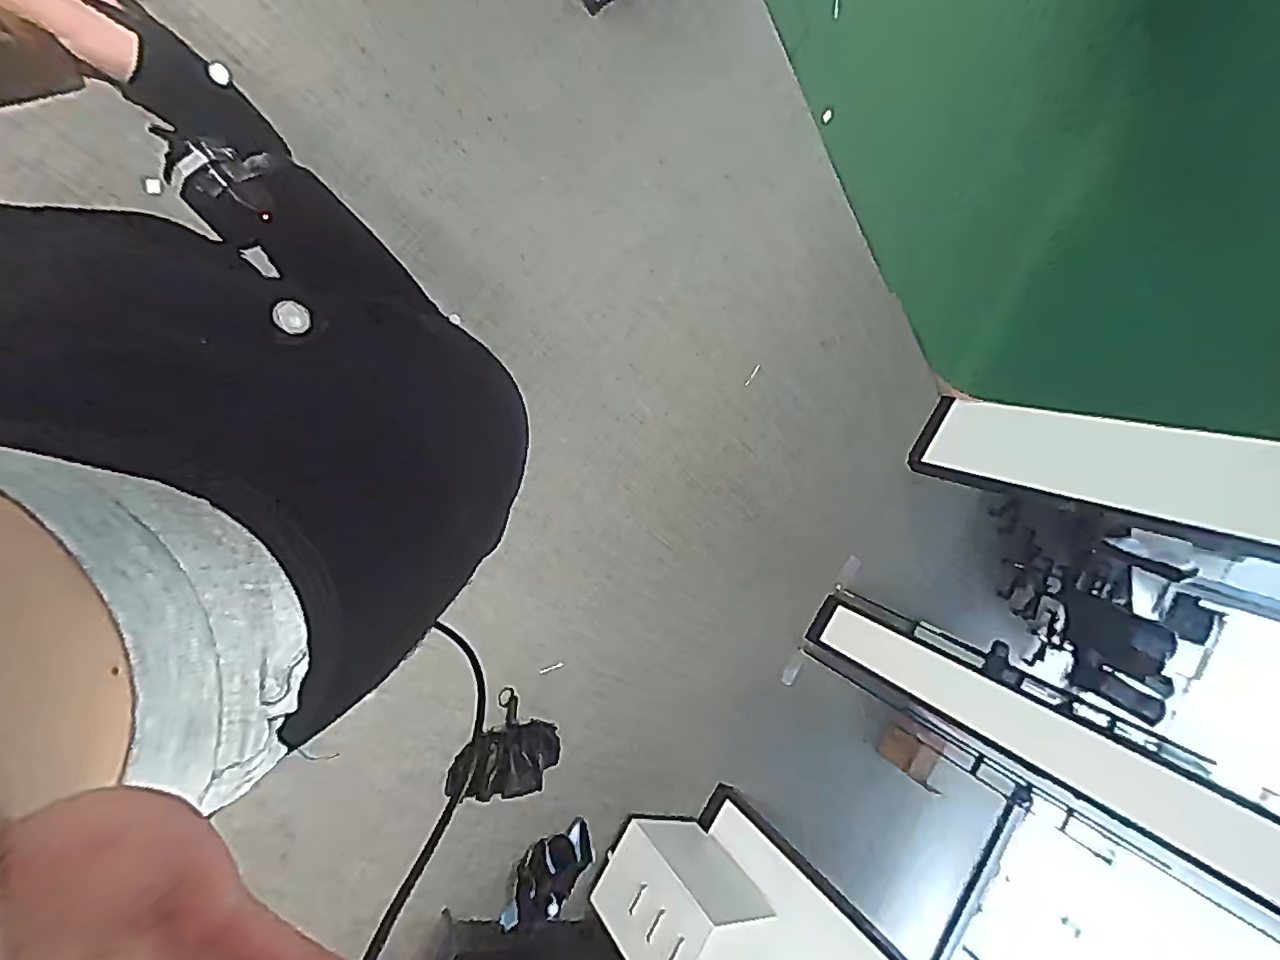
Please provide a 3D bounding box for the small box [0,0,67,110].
[{"bbox_3d":[-0.483,-0.298,0.283,0.168,0.176,0.179,-27,121,-15],"label":"small box"}]
